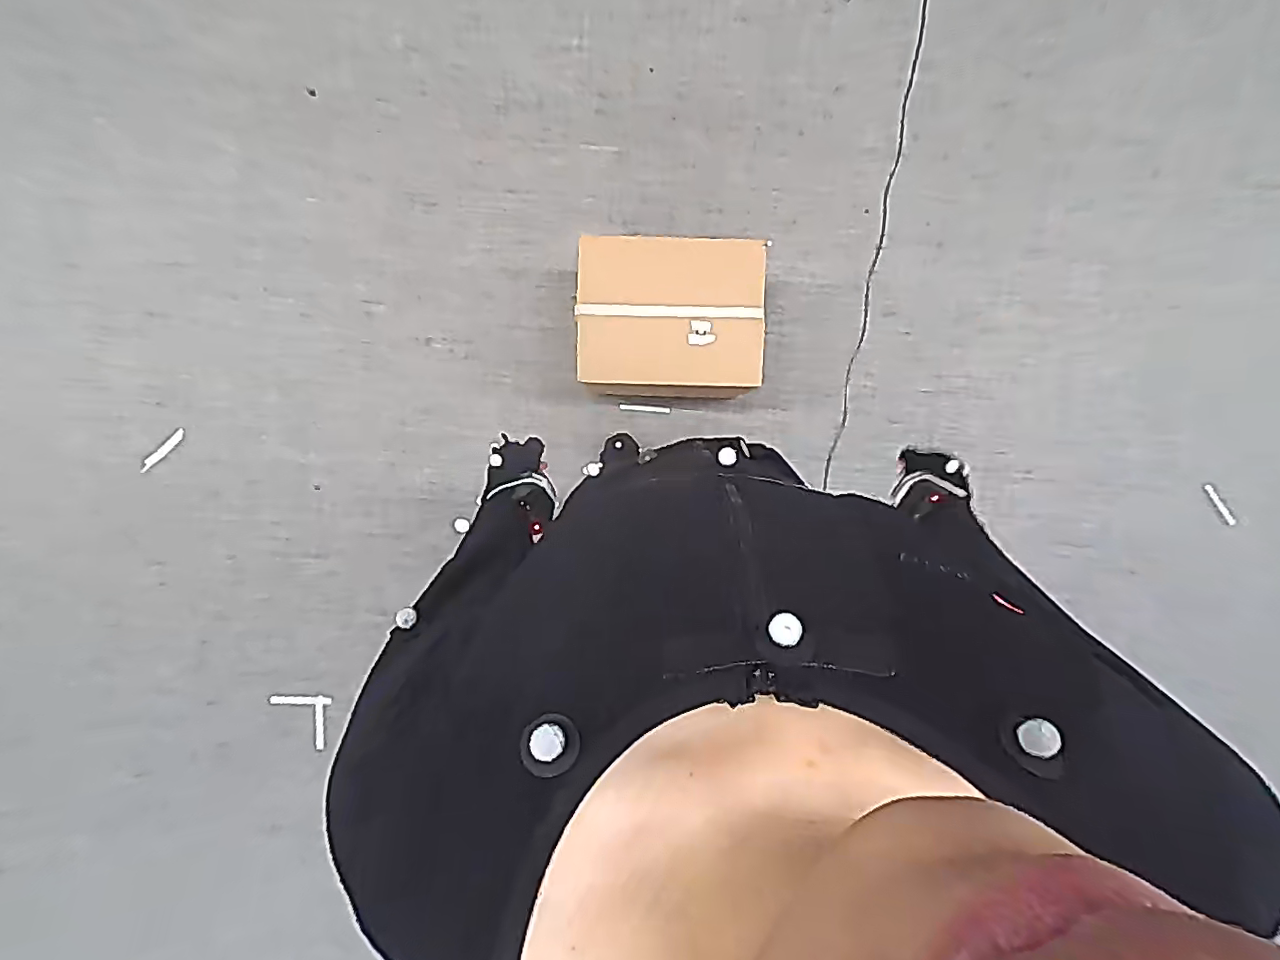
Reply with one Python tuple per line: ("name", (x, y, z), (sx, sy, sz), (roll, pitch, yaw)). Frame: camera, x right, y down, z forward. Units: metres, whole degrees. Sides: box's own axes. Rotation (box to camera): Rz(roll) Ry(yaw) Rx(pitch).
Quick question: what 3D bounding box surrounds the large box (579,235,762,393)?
("large box", (0.063, -0.384, 1.326), (0.408, 0.320, 0.320), (1, 95, -1))
